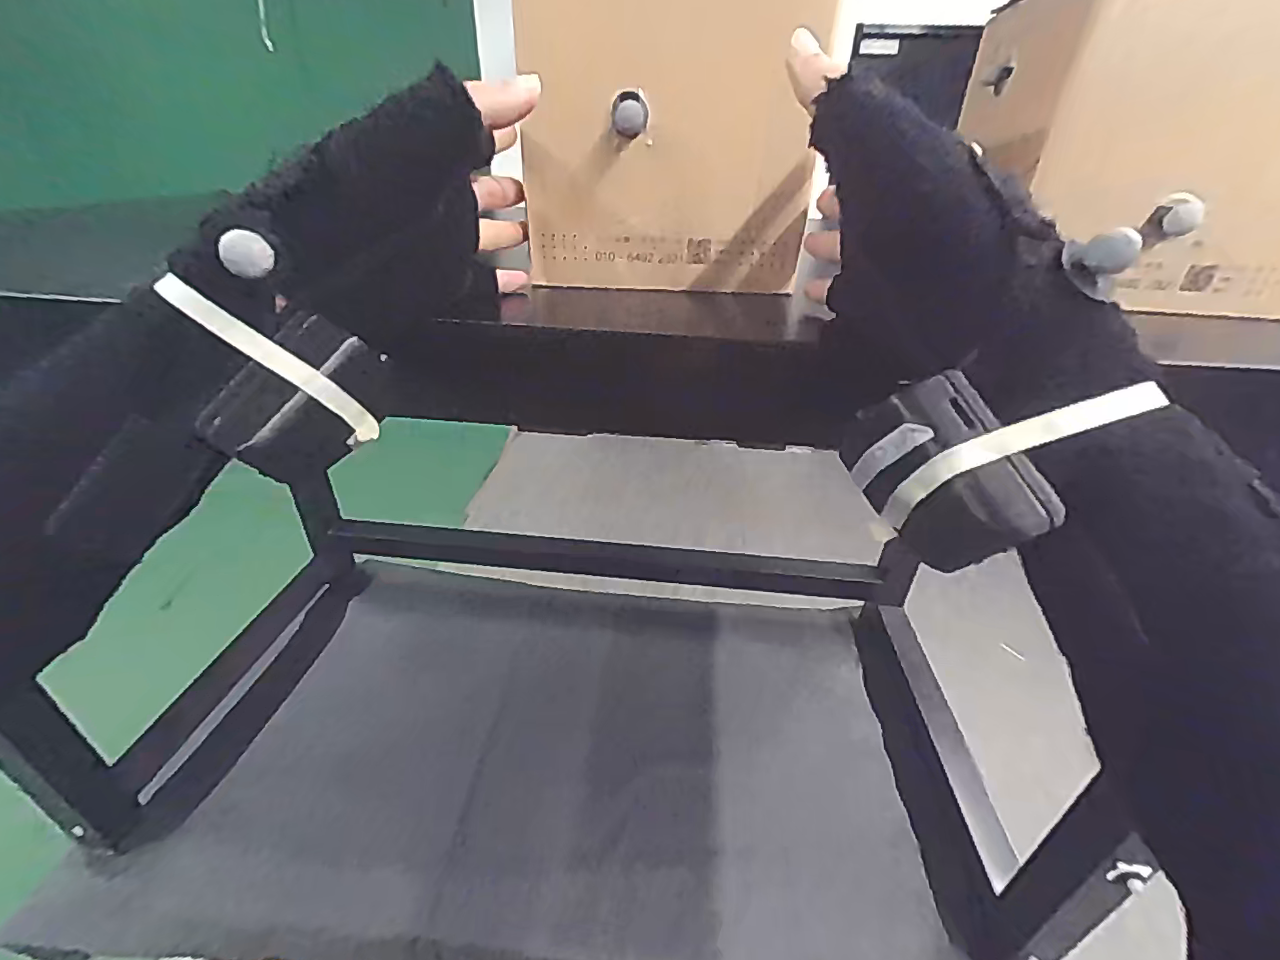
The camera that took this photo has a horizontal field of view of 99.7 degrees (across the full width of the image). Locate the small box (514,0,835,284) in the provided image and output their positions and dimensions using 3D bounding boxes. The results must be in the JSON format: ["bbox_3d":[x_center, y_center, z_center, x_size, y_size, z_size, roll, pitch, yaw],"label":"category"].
[{"bbox_3d":[0.021,-0.234,0.365,0.168,0.176,0.179,2,30,0],"label":"small box"}]

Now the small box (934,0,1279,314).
[{"bbox_3d":[0.313,-0.216,0.346,0.168,0.176,0.179,7,32,9],"label":"small box"}]
